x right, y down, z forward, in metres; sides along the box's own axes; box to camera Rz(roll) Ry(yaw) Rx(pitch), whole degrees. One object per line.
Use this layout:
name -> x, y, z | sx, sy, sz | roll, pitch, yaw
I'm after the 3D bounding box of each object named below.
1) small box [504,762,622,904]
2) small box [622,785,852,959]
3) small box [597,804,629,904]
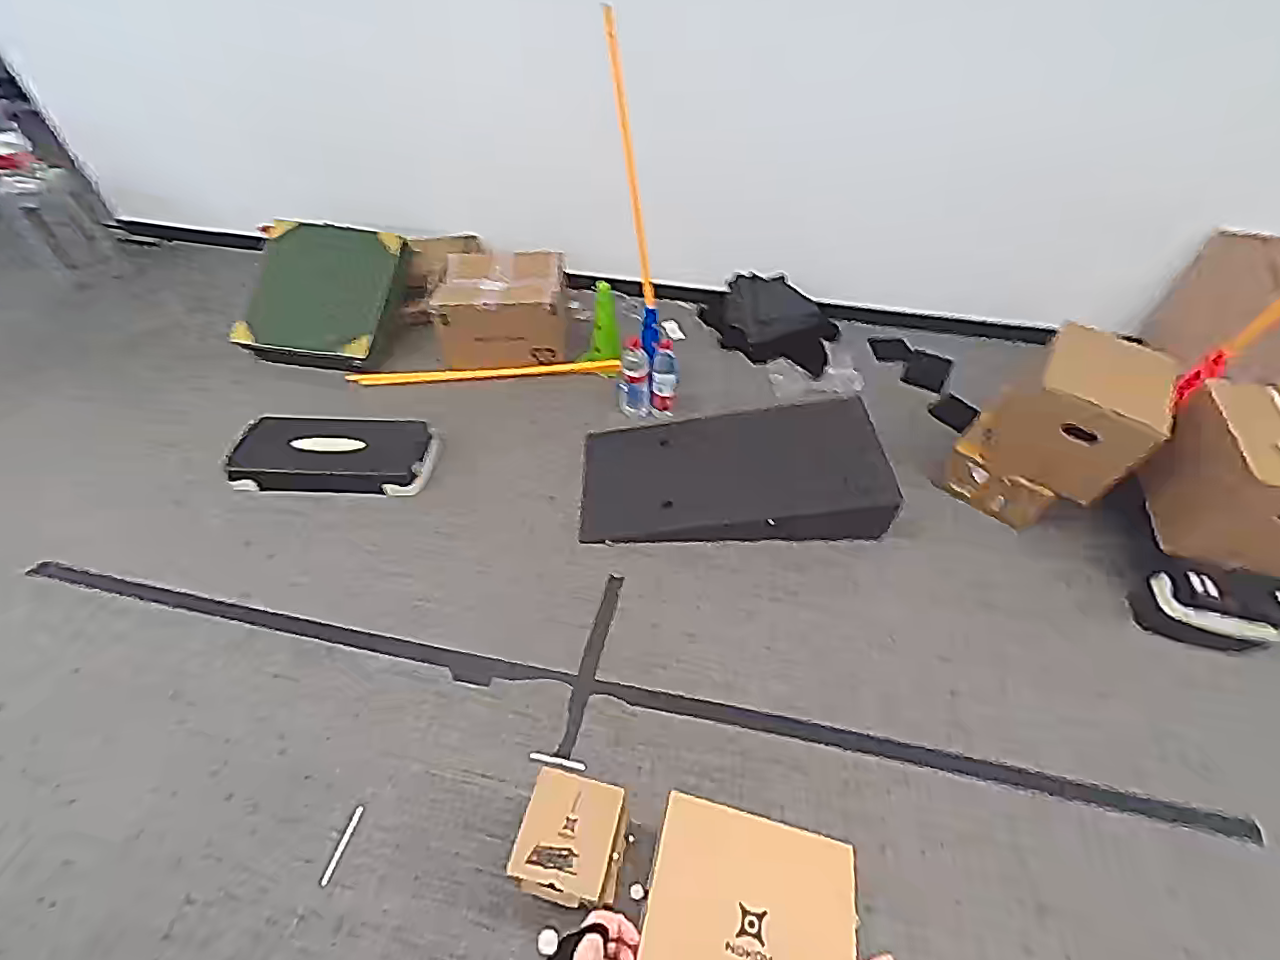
small box -> -0.132, 0.662, 1.009 | 0.168, 0.176, 0.179 | 12, 49, 9
small box -> 0.074, 0.407, 0.470 | 0.168, 0.176, 0.179 | 13, 45, 9
small box -> -0.124, 0.767, 1.134 | 0.179, 0.176, 0.168 | 10, 50, 7
